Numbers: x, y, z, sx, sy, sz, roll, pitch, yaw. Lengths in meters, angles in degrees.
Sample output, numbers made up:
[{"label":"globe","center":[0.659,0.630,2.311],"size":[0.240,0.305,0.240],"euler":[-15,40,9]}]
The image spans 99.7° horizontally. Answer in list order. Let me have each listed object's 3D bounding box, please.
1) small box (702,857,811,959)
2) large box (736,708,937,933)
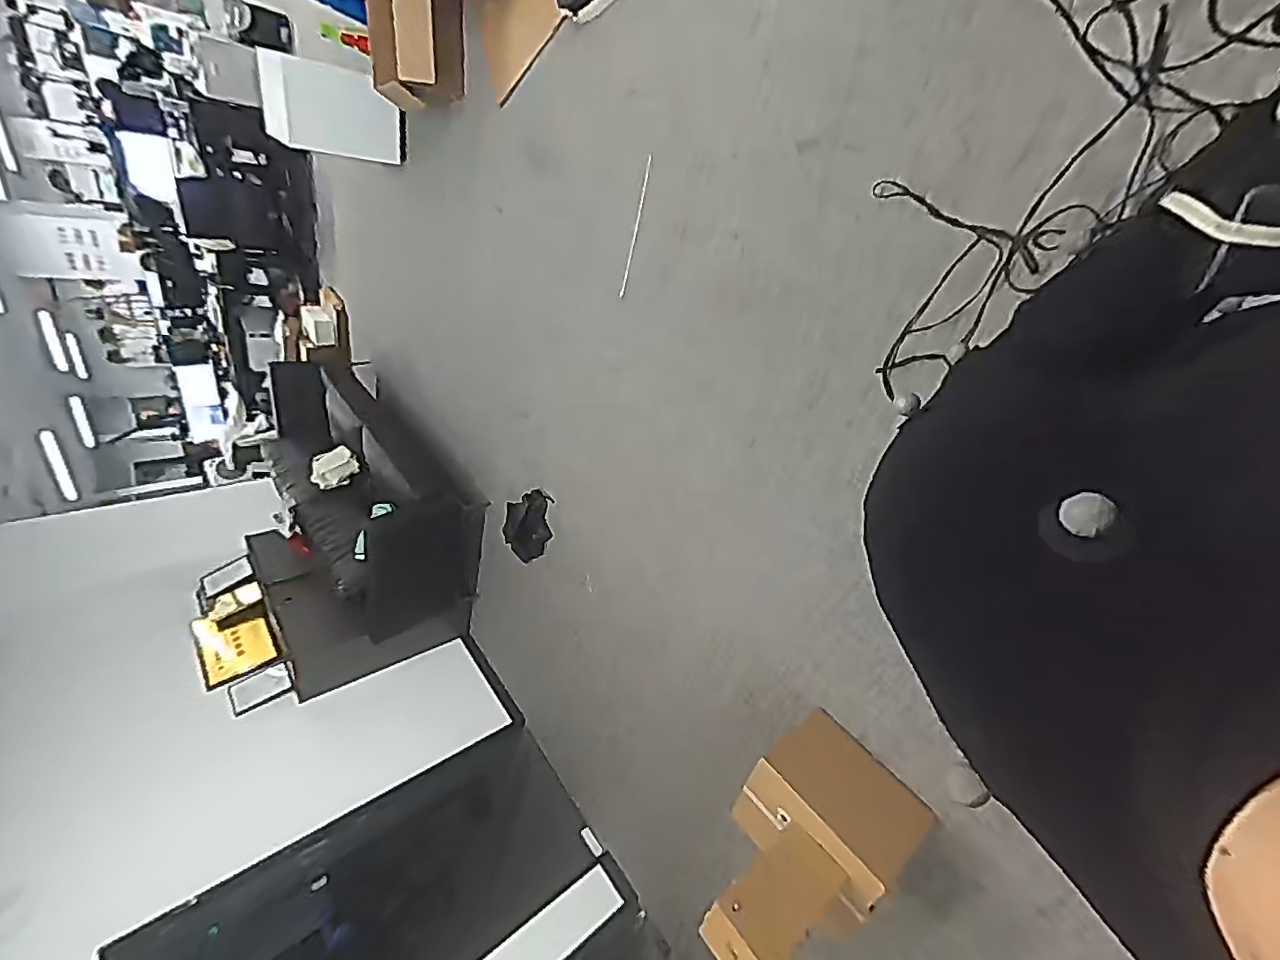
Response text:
[{"label":"small box","center":[0.284,1.079,1.316],"size":[0.179,0.176,0.168],"euler":[39,129,37]},{"label":"large box","center":[0.566,0.976,1.595],"size":[0.408,0.320,0.320],"euler":[40,129,37]}]
